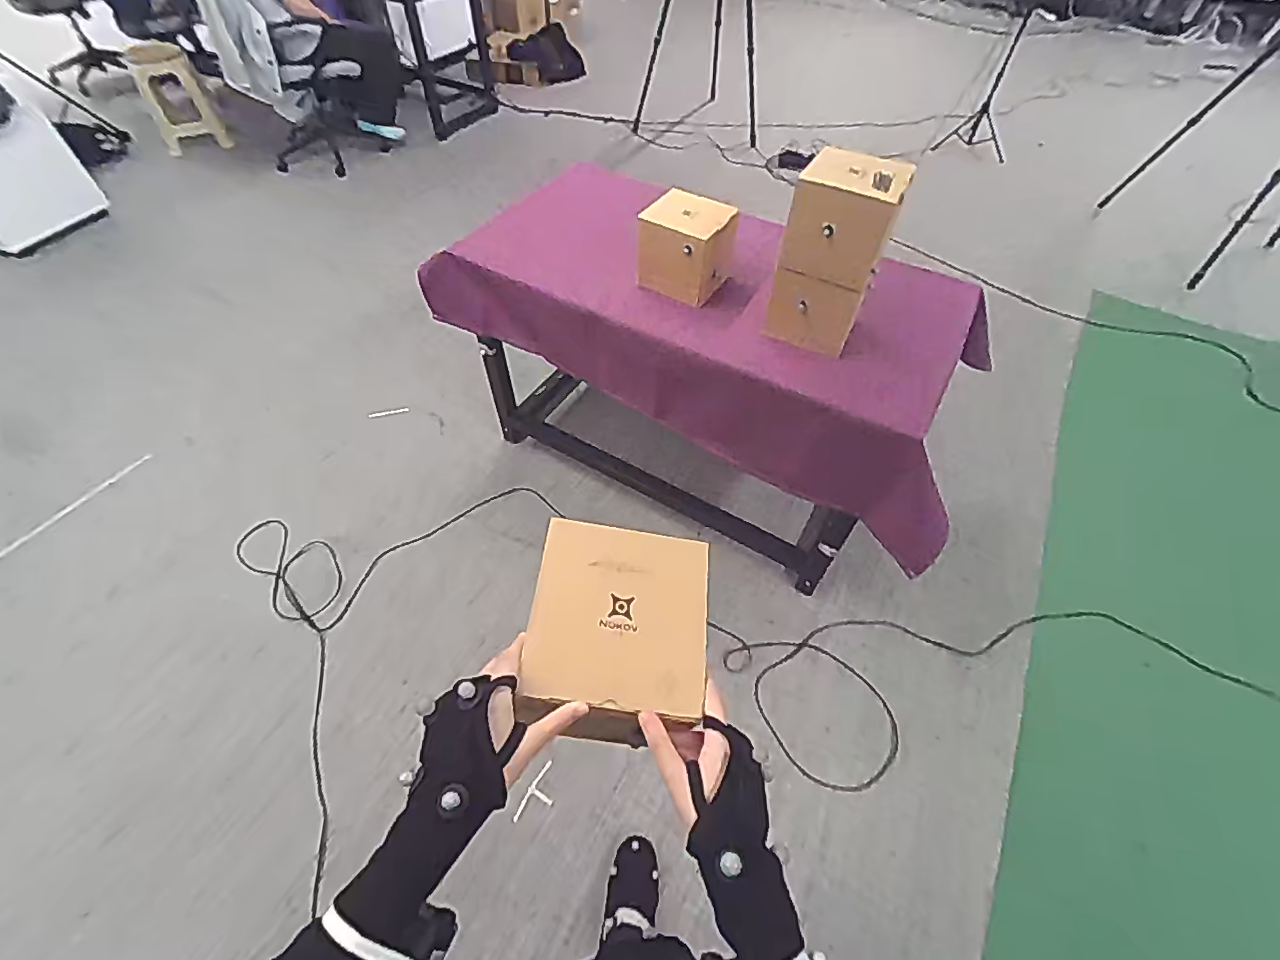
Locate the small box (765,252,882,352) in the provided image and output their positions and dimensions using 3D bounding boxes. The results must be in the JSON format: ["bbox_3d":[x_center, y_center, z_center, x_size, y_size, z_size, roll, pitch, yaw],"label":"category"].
[{"bbox_3d":[0.385,-0.401,1.158,0.179,0.176,0.168,24,56,17],"label":"small box"}]

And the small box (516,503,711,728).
[{"bbox_3d":[-0.029,0.152,0.576,0.168,0.176,0.179,11,55,-5],"label":"small box"}]

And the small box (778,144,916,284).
[{"bbox_3d":[0.386,-0.499,1.026,0.179,0.176,0.168,25,56,17],"label":"small box"}]

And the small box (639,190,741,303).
[{"bbox_3d":[0.109,-0.543,1.263,0.179,0.176,0.168,28,56,17],"label":"small box"}]
